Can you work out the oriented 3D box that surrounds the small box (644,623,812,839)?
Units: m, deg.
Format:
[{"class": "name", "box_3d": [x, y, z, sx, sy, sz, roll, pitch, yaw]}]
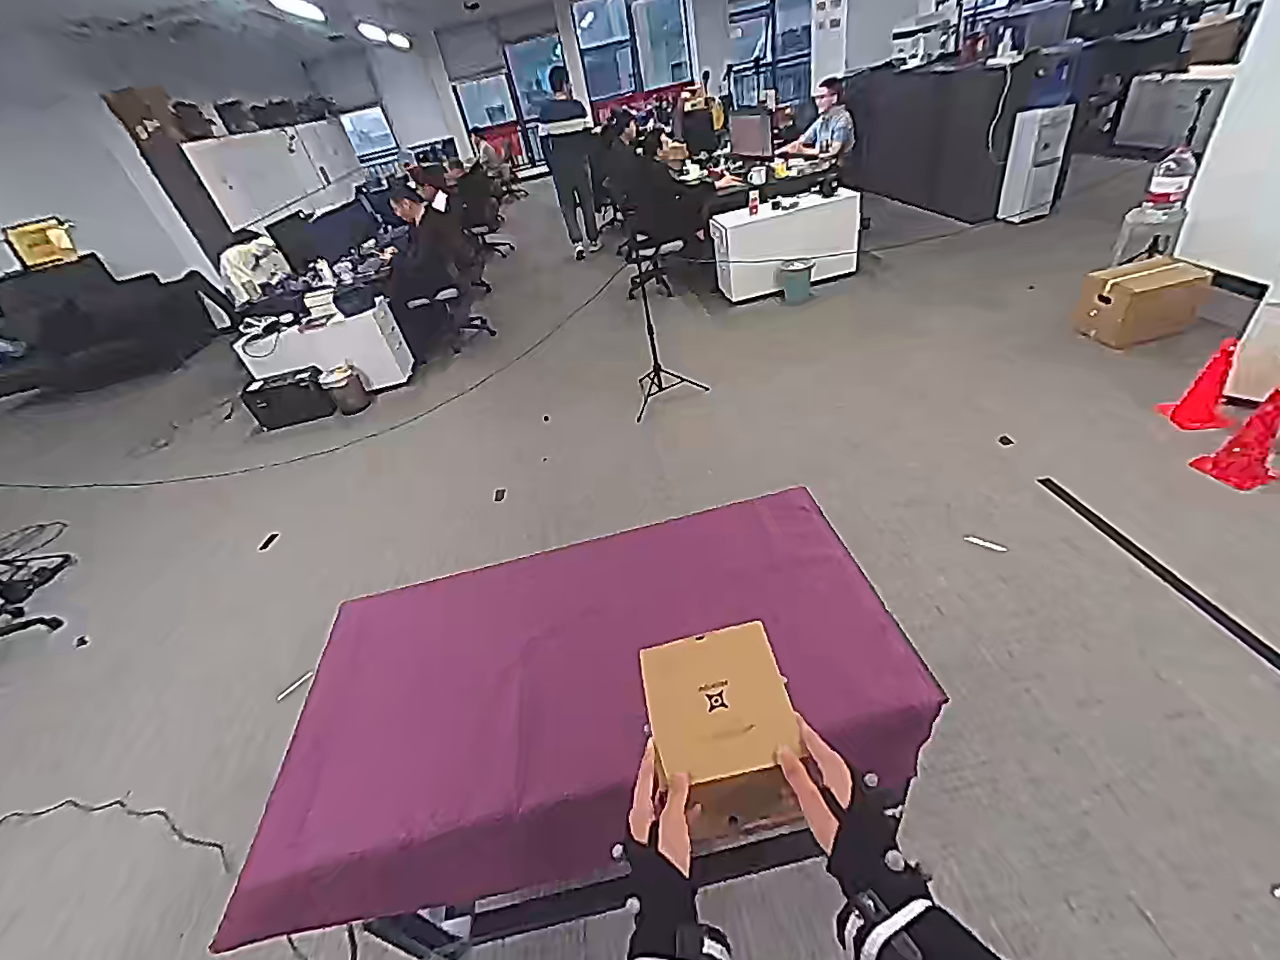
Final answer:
[{"class": "small box", "box_3d": [0.108, 0.317, 0.687, 0.168, 0.176, 0.179, -15, 39, 3]}]
